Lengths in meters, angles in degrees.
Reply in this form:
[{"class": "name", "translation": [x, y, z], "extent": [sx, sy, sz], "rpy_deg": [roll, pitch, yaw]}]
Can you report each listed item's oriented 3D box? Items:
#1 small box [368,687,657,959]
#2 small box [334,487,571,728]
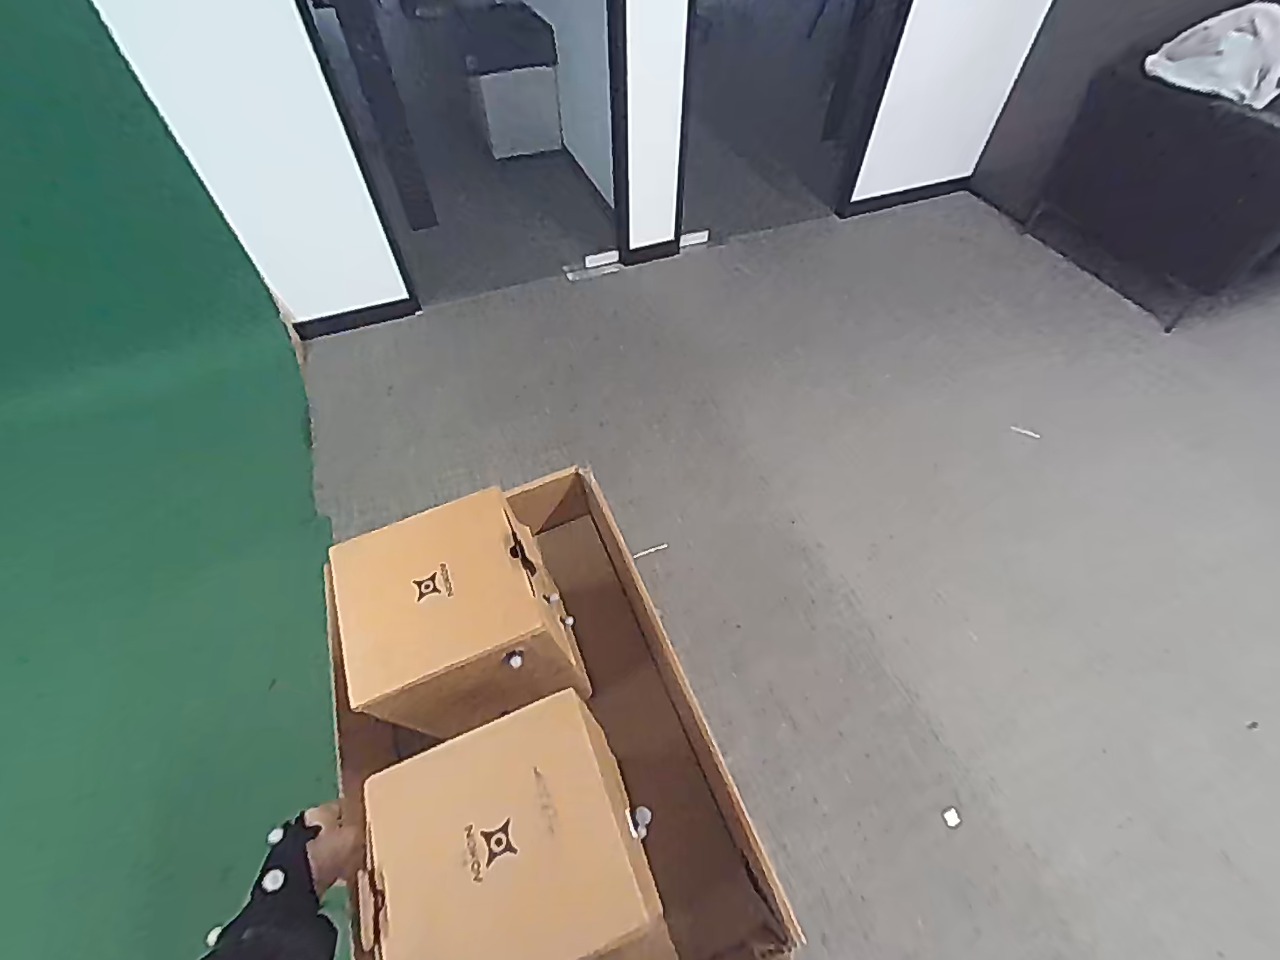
[{"class": "small box", "translation": [-0.097, 0.307, 0.454], "extent": [0.179, 0.176, 0.168], "rpy_deg": [-21, 55, -10]}, {"class": "small box", "translation": [-0.190, 0.142, 0.578], "extent": [0.179, 0.176, 0.168], "rpy_deg": [-22, 59, -11]}]
